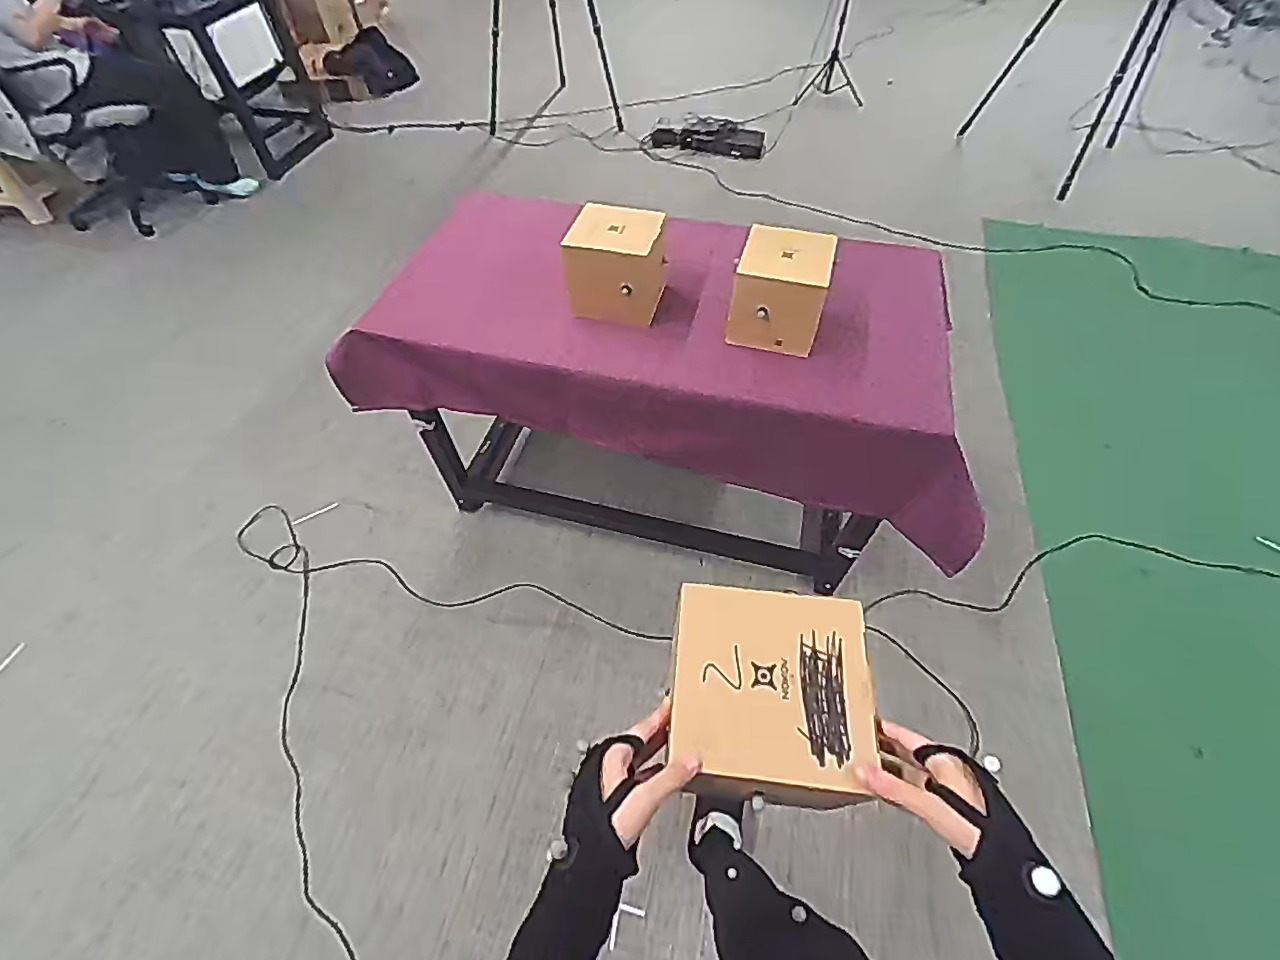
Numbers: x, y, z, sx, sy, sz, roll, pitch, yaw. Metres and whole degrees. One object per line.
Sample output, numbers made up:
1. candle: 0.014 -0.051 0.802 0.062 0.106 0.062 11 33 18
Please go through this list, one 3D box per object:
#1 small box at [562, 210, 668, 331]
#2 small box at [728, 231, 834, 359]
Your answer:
1. small box: -0.046 -0.436 1.138 0.179 0.176 0.168 12 54 10
2. small box: 0.276 -0.366 1.079 0.168 0.176 0.179 13 54 11
